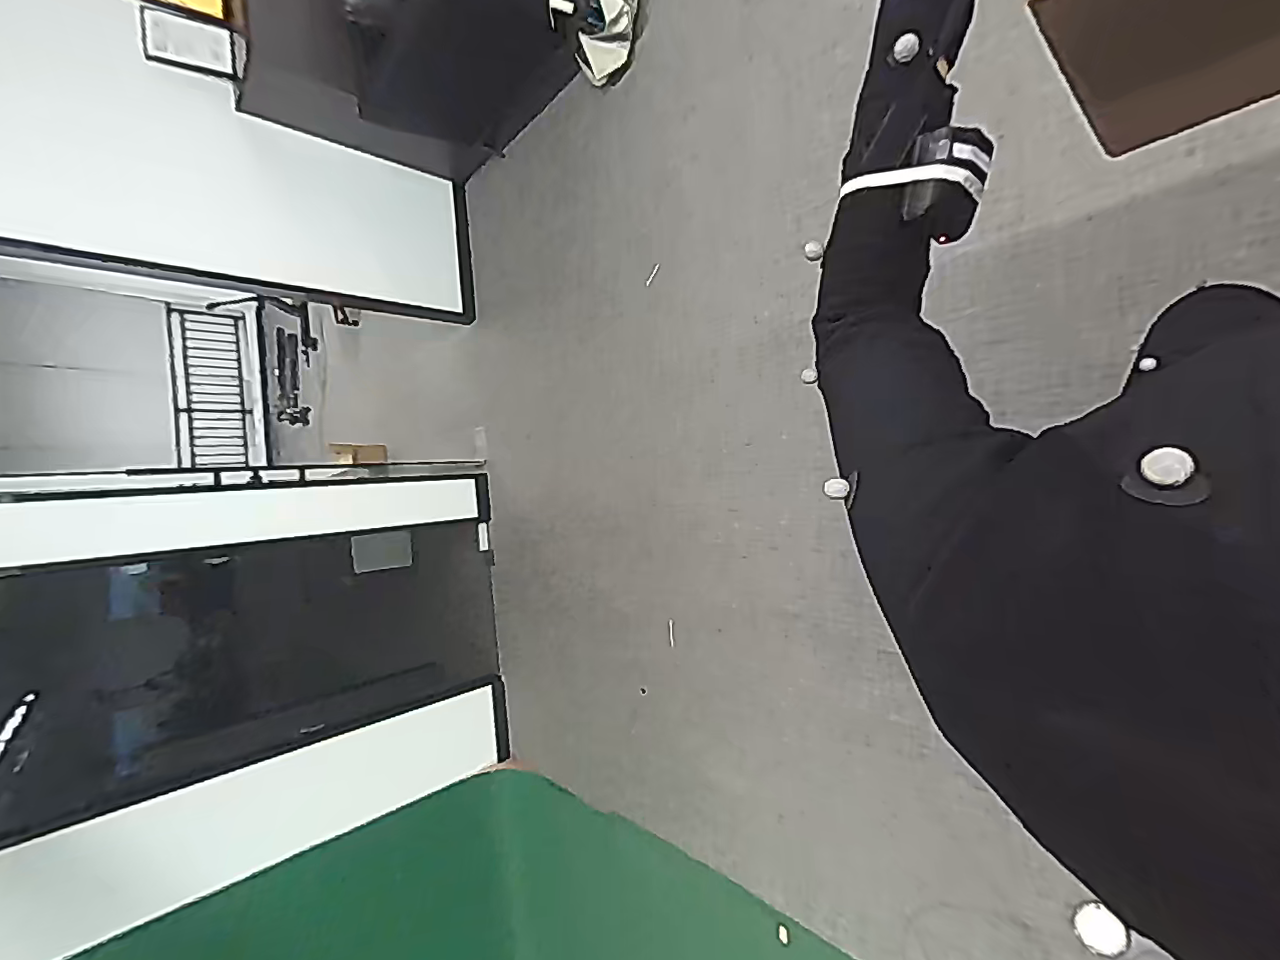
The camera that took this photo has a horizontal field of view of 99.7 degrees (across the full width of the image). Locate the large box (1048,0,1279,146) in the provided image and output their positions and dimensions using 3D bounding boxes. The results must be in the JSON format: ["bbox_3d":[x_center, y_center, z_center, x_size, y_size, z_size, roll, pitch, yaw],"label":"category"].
[{"bbox_3d":[0.483,-0.493,0.310,0.408,0.320,0.320,-7,89,48],"label":"large box"}]
